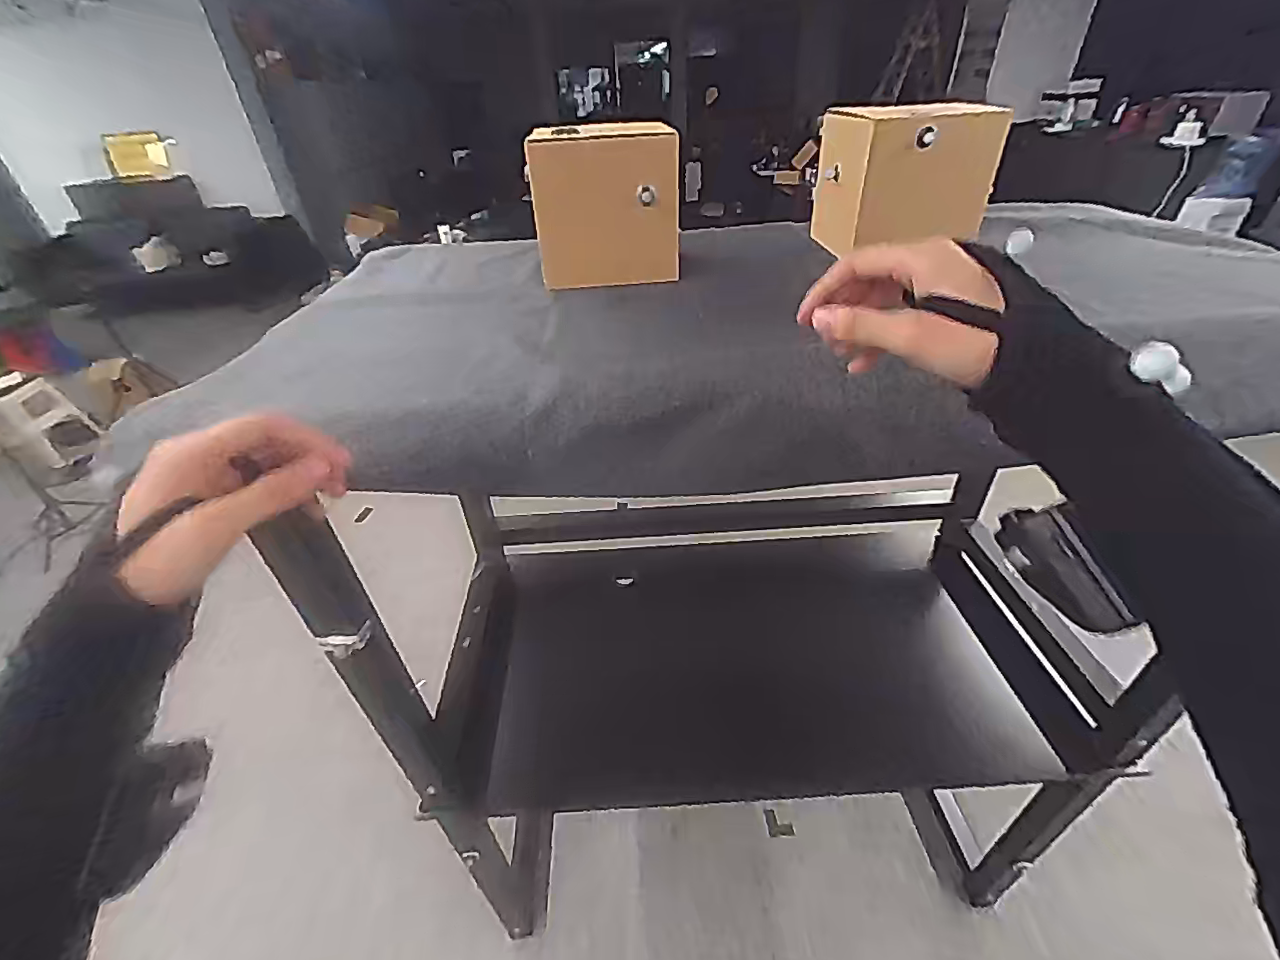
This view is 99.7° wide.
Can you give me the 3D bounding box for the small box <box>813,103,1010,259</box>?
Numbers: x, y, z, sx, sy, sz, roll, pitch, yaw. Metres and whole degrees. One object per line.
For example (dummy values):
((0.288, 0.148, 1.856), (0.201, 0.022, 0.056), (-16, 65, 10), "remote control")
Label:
((0.349, -0.409, 0.740), (0.168, 0.176, 0.179), (-4, 35, -1), "small box")
